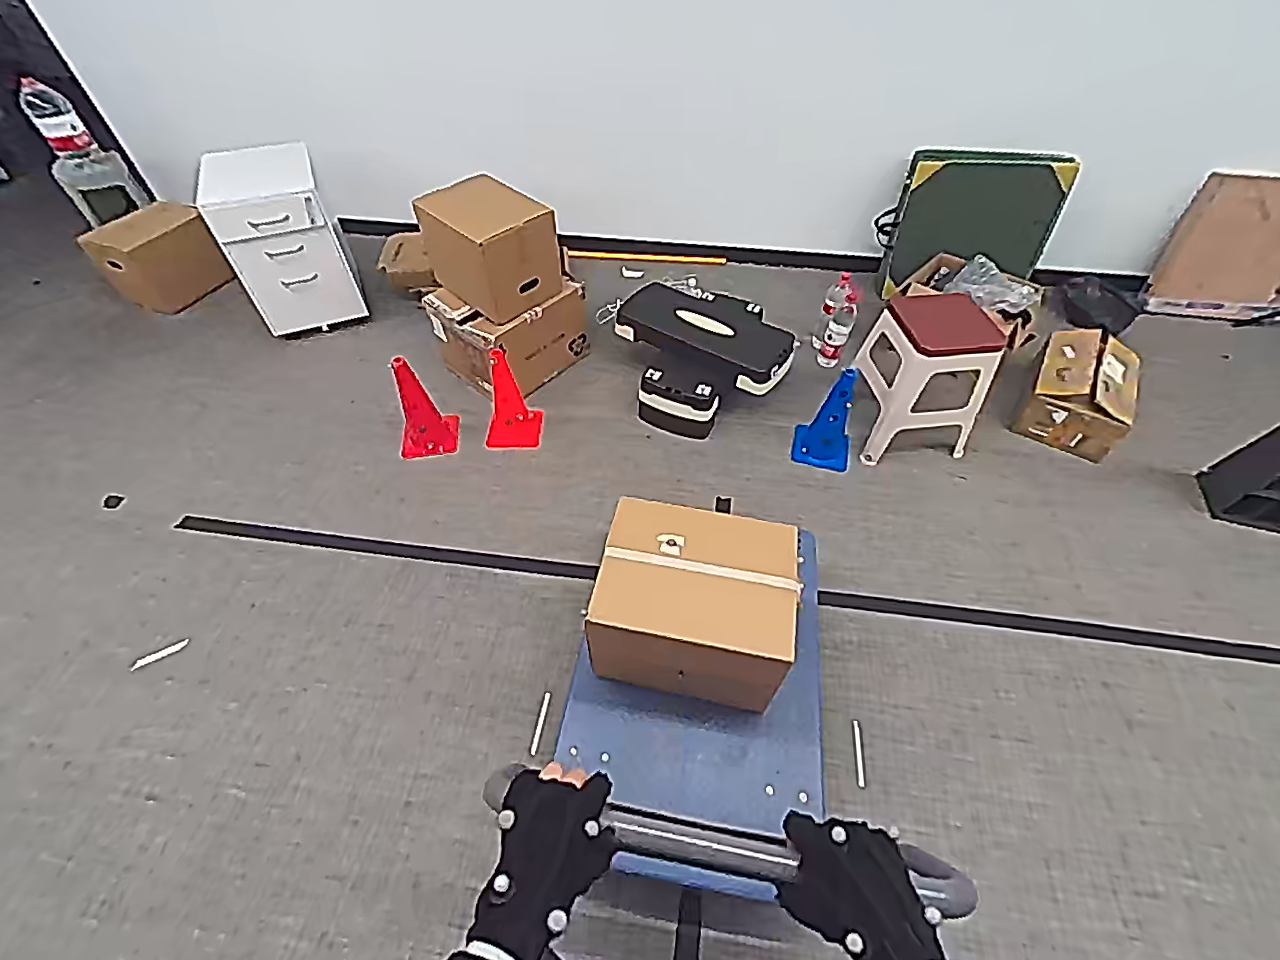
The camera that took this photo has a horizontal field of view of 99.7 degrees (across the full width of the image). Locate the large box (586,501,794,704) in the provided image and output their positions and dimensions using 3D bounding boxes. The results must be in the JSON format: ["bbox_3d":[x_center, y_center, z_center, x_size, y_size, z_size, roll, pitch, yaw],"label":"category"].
[{"bbox_3d":[0.120,0.284,1.239,0.408,0.320,0.320,9,51,8],"label":"large box"}]
